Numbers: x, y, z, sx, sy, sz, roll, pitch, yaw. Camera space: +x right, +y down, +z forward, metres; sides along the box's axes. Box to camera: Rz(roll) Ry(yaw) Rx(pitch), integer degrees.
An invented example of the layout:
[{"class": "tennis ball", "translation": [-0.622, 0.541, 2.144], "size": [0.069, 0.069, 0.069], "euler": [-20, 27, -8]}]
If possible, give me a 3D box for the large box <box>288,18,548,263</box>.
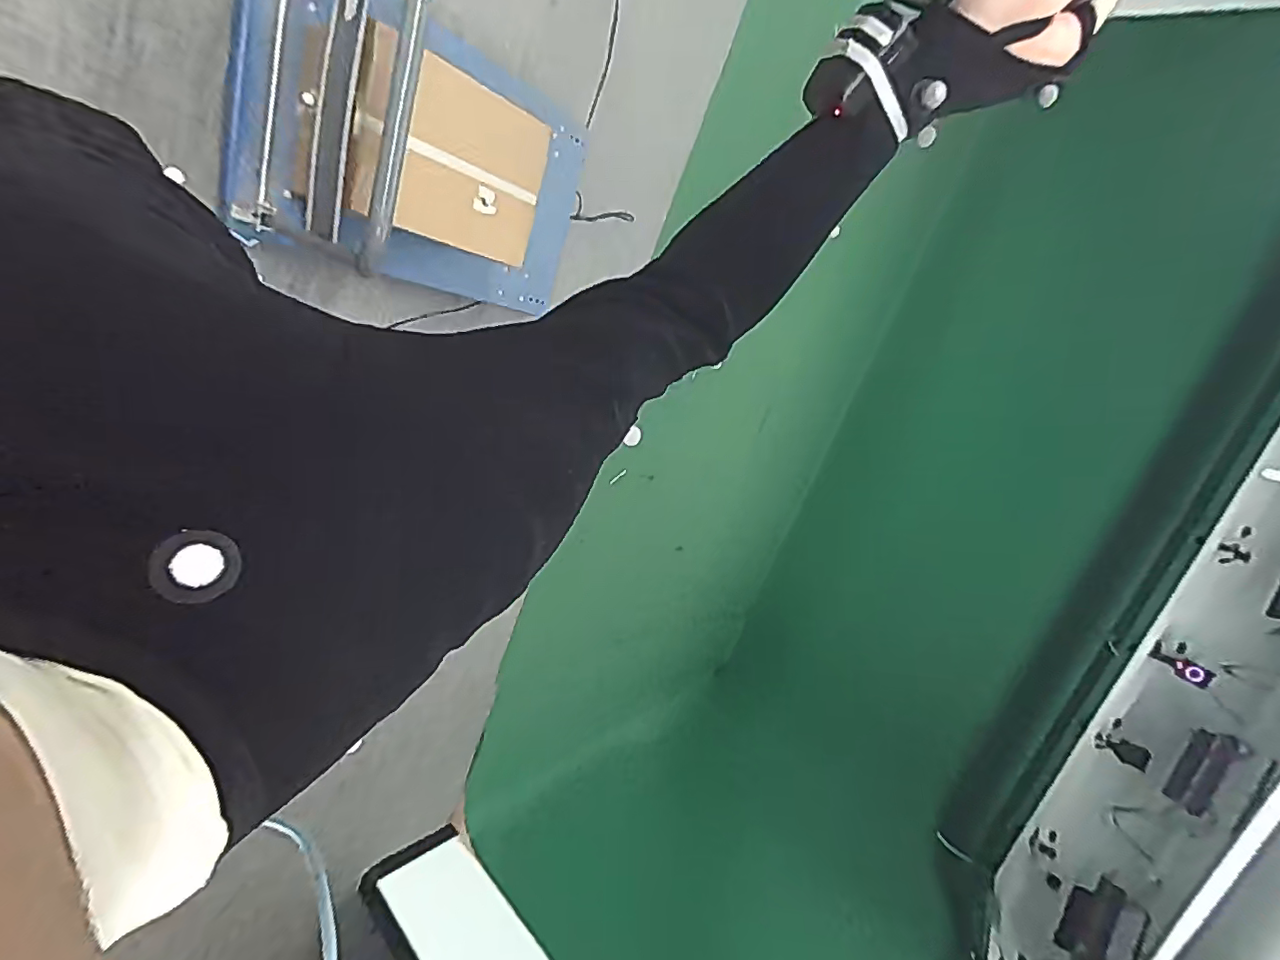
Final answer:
[{"class": "large box", "translation": [-0.481, -0.709, 1.182], "size": [0.408, 0.320, 0.320], "euler": [-3, 117, -53]}]
